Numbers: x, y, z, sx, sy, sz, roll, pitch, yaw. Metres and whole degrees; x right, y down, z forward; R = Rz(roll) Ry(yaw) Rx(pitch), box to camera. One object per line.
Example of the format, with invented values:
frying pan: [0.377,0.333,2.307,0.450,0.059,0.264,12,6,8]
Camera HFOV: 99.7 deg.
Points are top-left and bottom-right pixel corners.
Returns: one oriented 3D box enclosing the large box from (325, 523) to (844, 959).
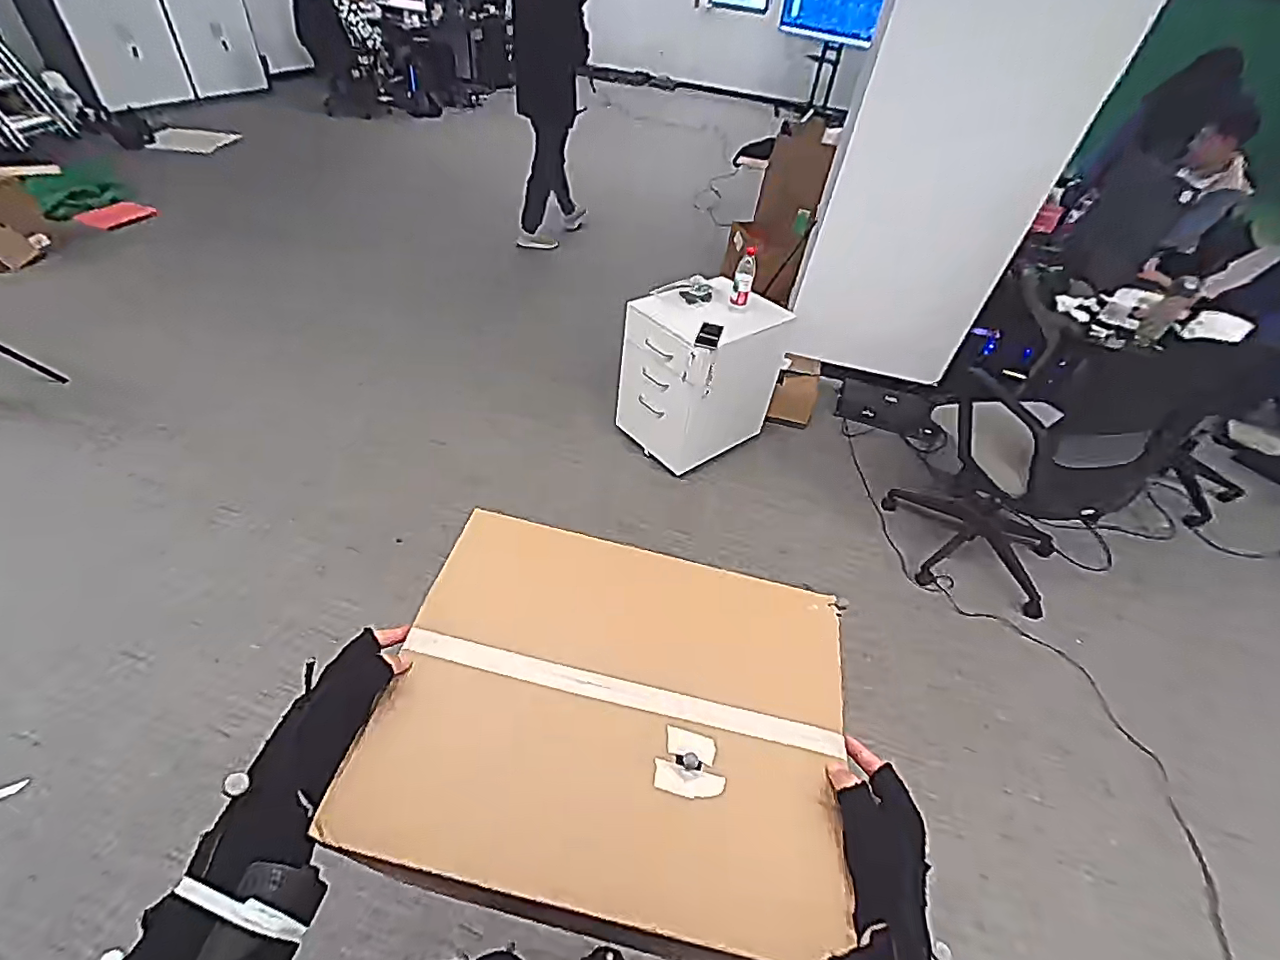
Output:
large box: [-0.039,0.296,0.605,0.408,0.320,0.320,14,49,1]
